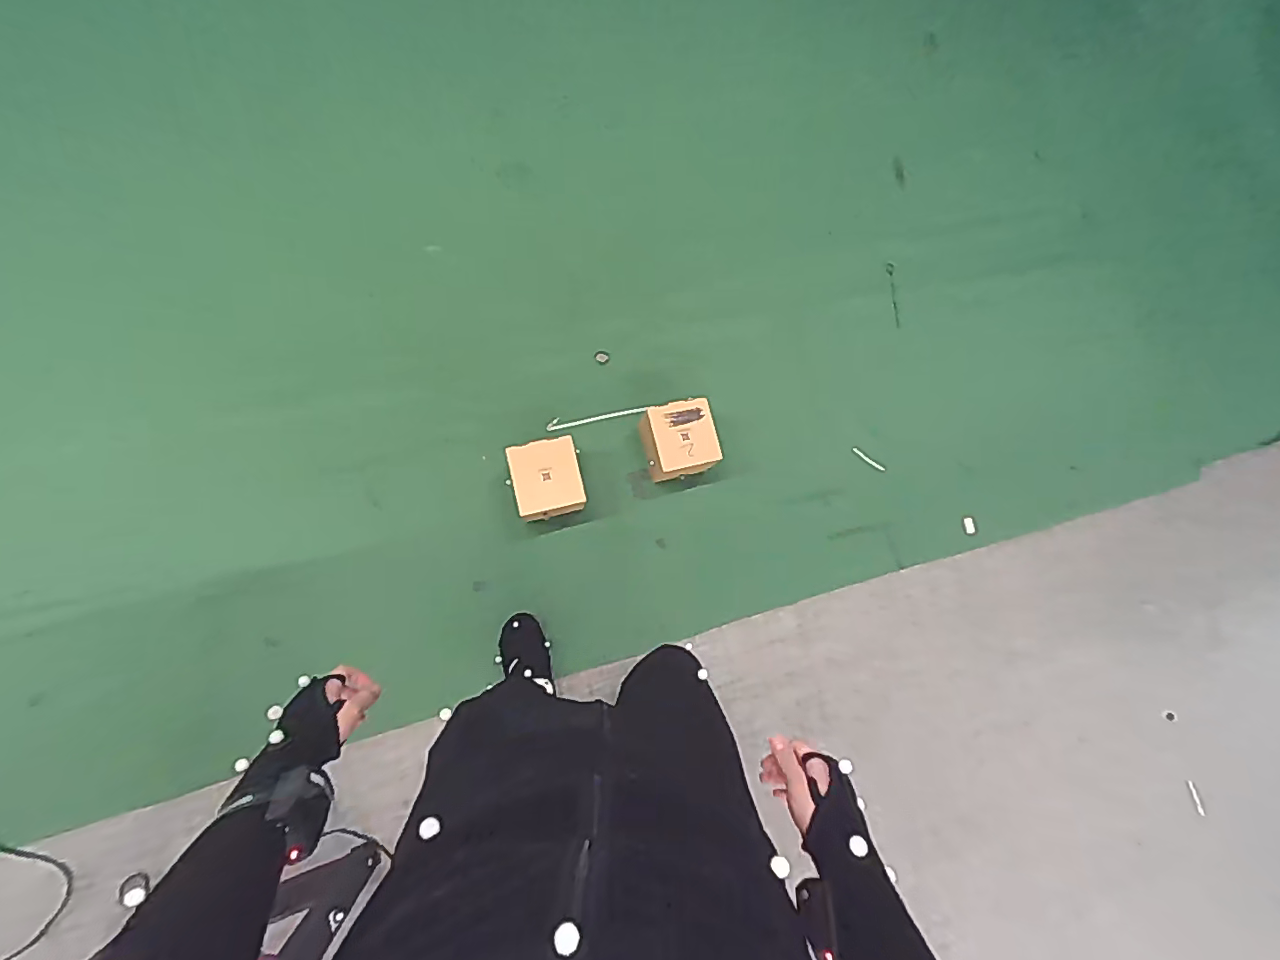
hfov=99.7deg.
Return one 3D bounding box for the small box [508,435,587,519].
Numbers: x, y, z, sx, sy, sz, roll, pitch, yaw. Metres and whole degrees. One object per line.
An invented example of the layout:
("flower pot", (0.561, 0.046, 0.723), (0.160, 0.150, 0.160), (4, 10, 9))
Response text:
("small box", (-0.236, 0.000, 1.400), (0.168, 0.176, 0.179), (-13, 81, -10))
